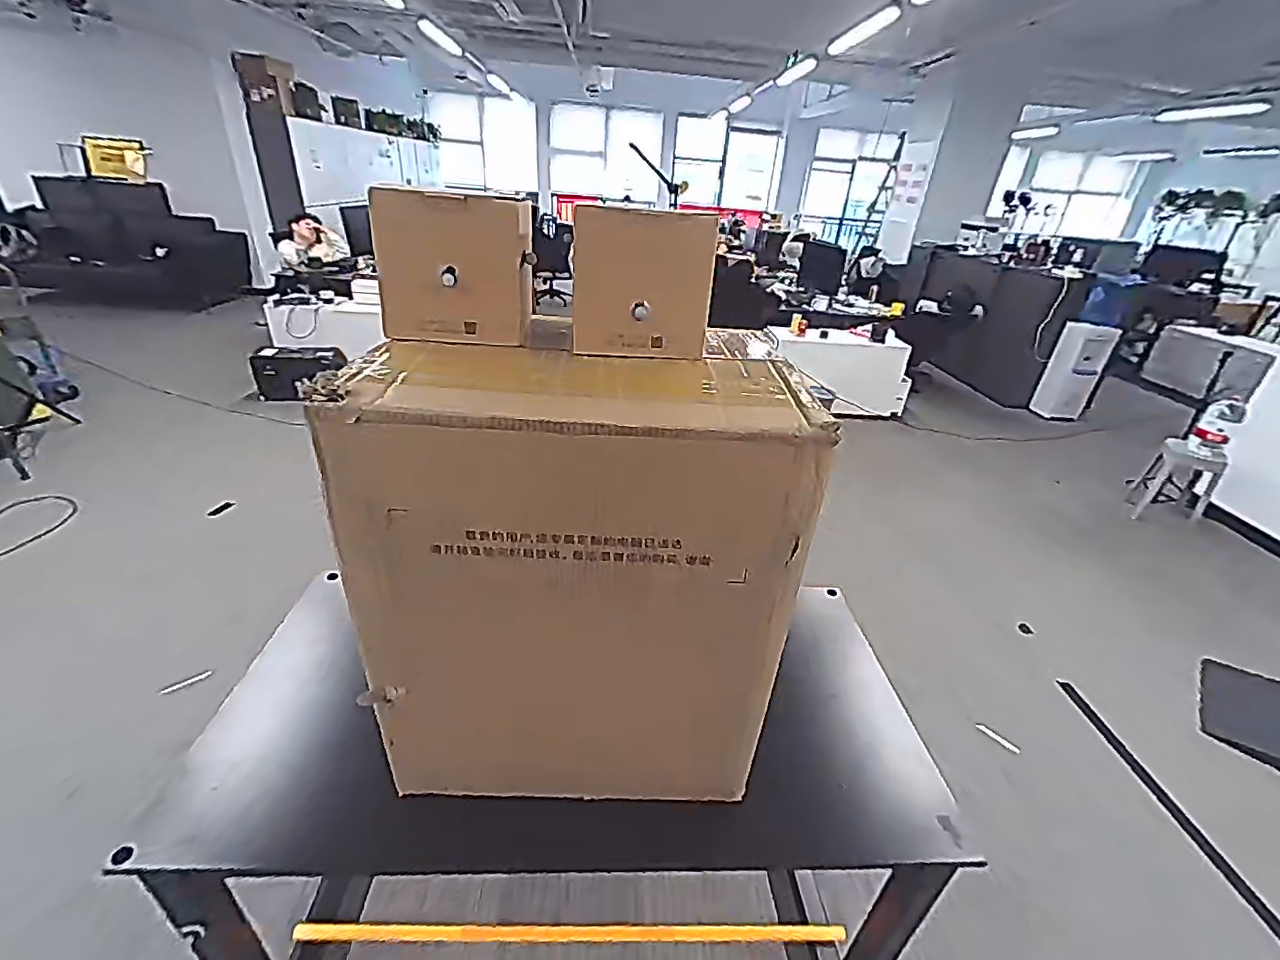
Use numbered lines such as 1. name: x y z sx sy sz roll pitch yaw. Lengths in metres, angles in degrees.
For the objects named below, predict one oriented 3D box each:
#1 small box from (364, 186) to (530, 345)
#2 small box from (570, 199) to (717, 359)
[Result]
1. small box: -0.232 -0.279 0.702 0.168 0.176 0.179 1 28 -8
2. small box: -0.005 -0.266 0.710 0.168 0.176 0.179 1 27 -5
